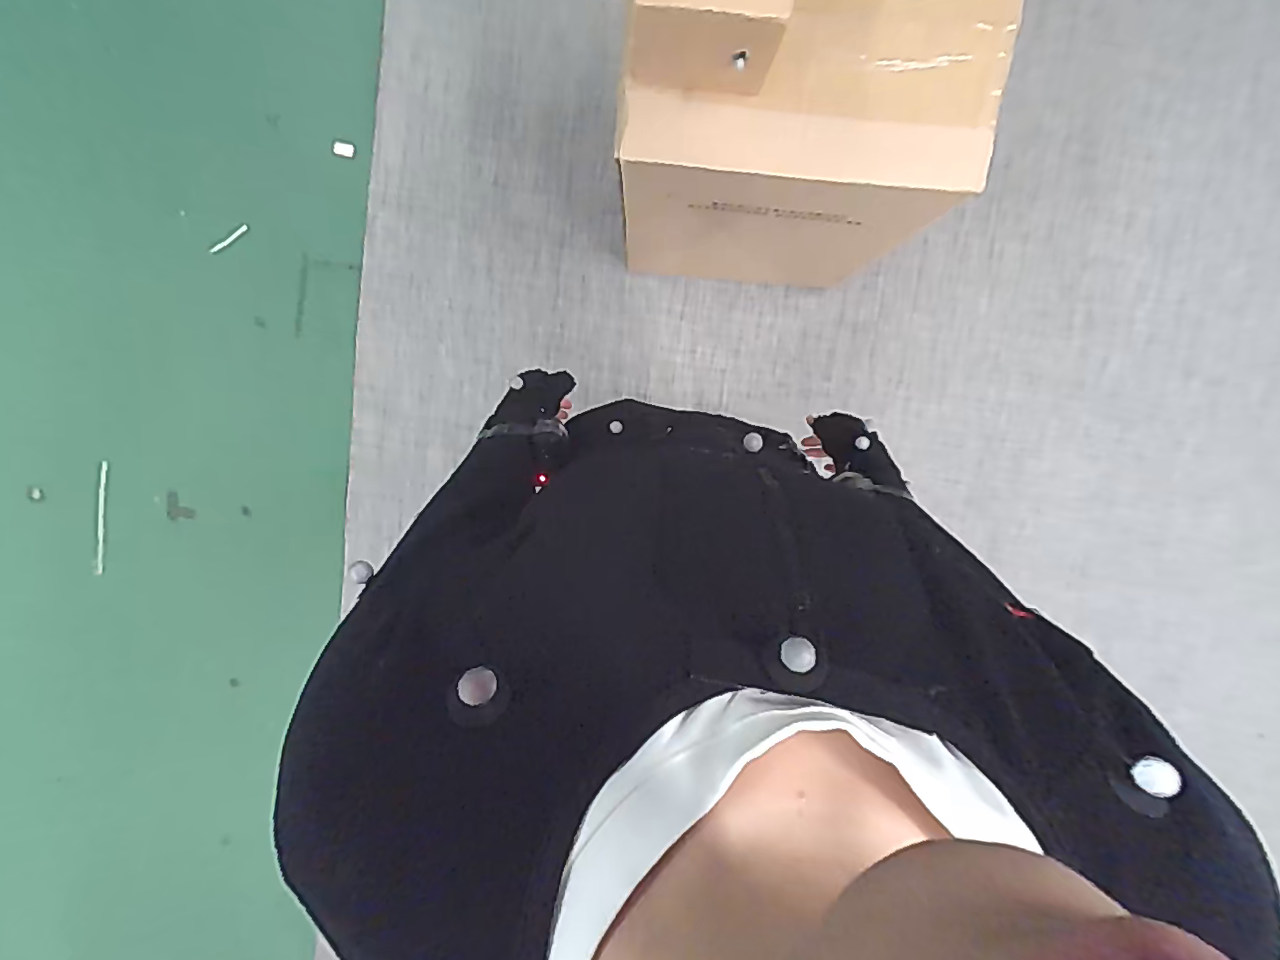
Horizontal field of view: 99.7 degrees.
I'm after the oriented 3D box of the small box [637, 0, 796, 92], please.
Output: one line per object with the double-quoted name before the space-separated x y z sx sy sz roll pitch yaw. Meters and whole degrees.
"small box" 0.091 -0.607 0.659 0.179 0.176 0.168 5 101 1
